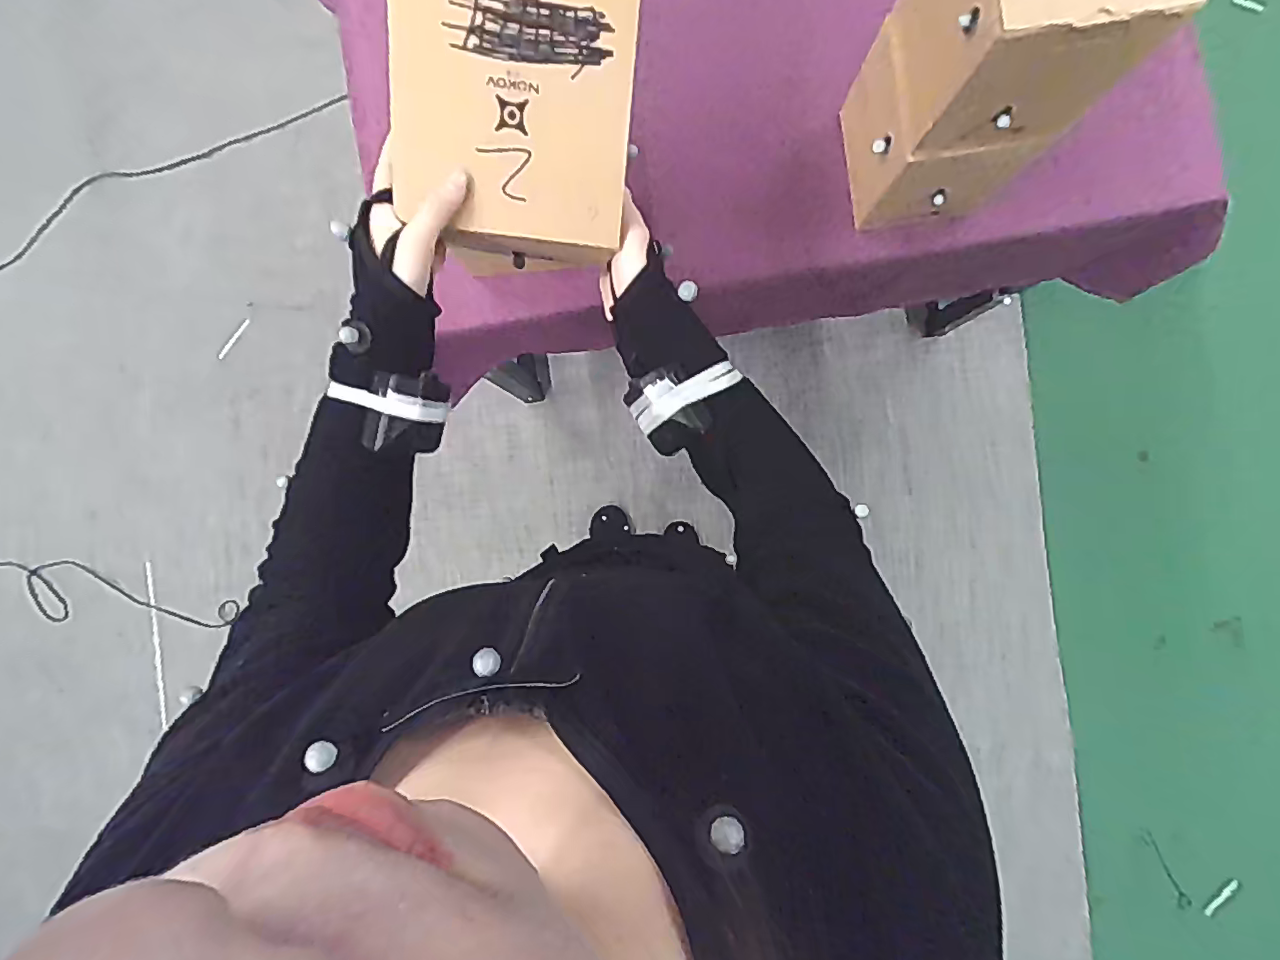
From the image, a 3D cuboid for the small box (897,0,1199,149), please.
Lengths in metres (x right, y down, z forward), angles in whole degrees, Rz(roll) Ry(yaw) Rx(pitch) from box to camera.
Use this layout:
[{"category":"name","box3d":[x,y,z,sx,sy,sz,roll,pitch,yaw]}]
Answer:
[{"category":"small box","box3d":[0.372,-0.466,0.527,0.168,0.176,0.179,-7,90,2]}]

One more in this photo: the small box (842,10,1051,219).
[{"category":"small box","box3d":[0.374,-0.456,0.690,0.168,0.176,0.179,-8,89,2]}]

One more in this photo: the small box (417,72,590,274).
[{"category":"small box","box3d":[-0.168,-0.386,0.710,0.179,0.176,0.168,-5,89,1]}]
